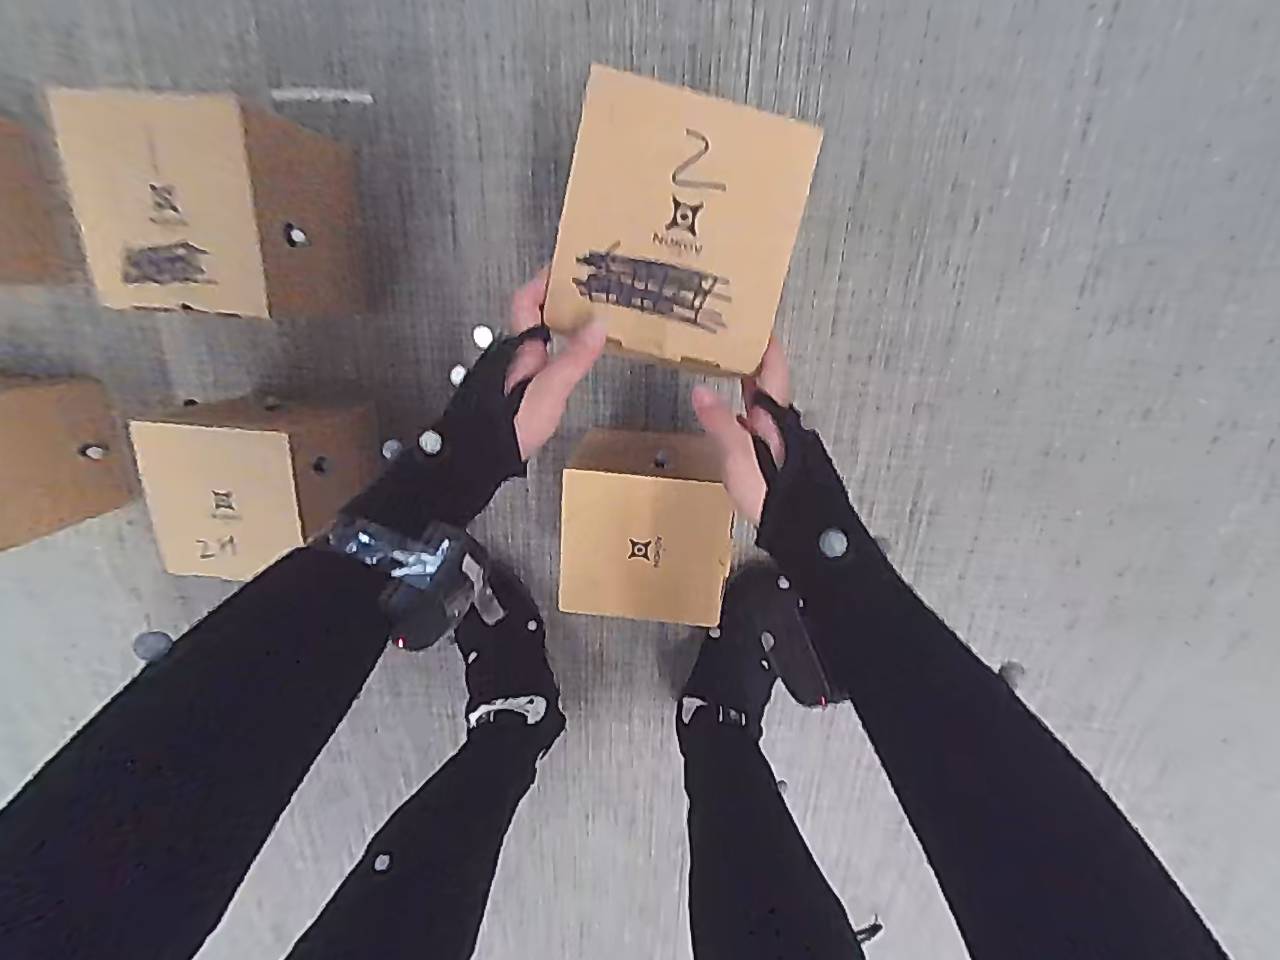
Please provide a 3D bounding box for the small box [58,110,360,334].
[{"bbox_3d":[-0.415,-0.252,0.560,0.168,0.176,0.179,4,108,2],"label":"small box"}]

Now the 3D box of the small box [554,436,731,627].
[{"bbox_3d":[0.003,0.049,0.636,0.179,0.176,0.168,4,109,1],"label":"small box"}]

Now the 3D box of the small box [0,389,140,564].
[{"bbox_3d":[-0.787,-0.015,0.669,0.168,0.176,0.179,3,108,4],"label":"small box"}]
